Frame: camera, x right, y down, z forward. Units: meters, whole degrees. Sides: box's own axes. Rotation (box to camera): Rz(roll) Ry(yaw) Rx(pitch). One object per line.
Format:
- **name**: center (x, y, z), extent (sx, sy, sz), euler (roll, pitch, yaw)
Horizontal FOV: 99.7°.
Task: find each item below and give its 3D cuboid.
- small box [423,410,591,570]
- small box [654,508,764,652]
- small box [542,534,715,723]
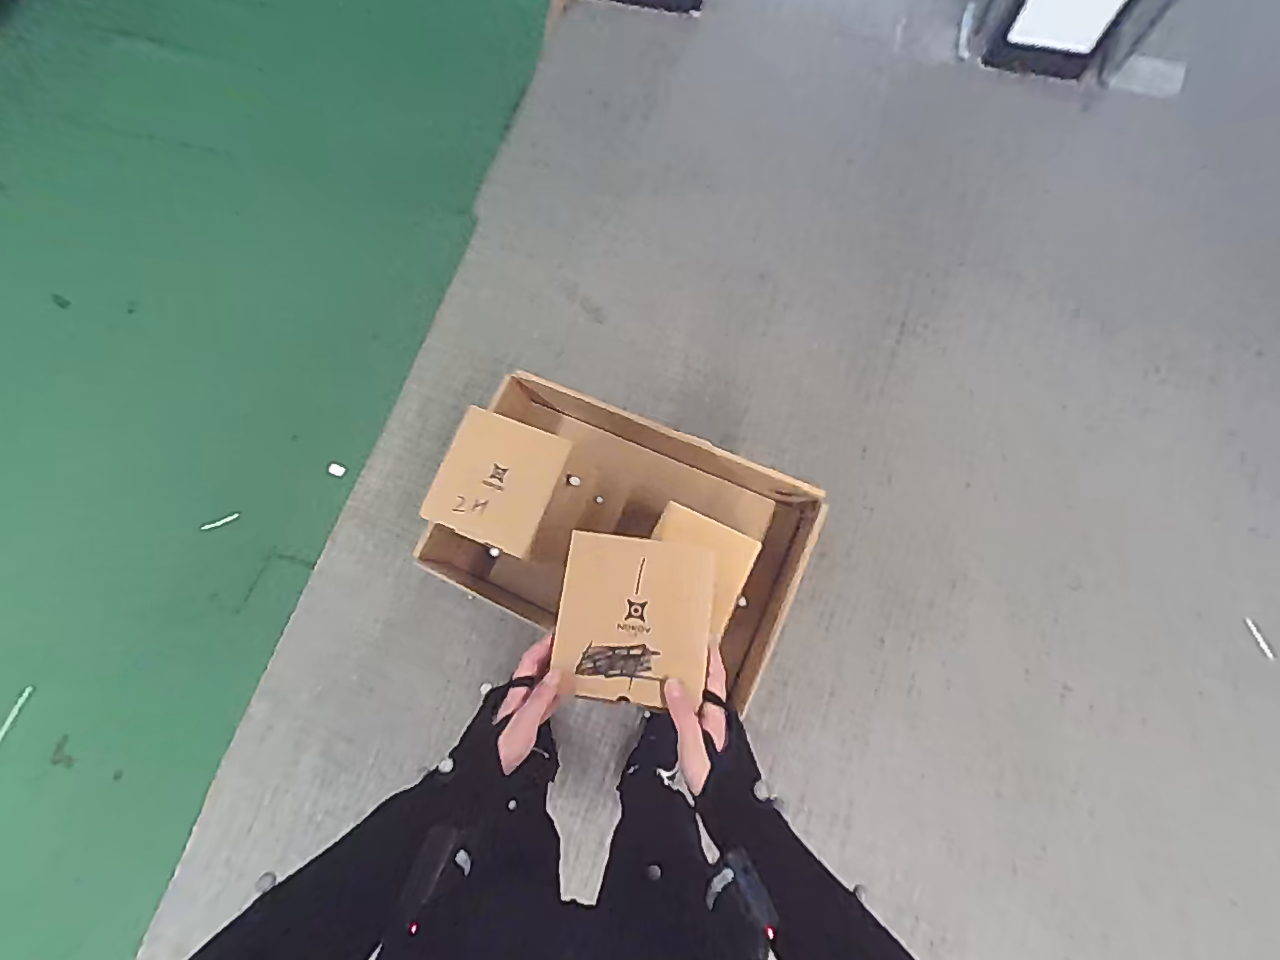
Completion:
- **small box**: center (-0.186, 0.024, 0.821), extent (0.168, 0.176, 0.179), euler (21, 79, 11)
- **small box**: center (0.093, 0.172, 0.929), extent (0.168, 0.176, 0.179), euler (25, 81, 10)
- **small box**: center (-0.007, 0.175, 0.648), extent (0.168, 0.176, 0.179), euler (7, 73, 4)
